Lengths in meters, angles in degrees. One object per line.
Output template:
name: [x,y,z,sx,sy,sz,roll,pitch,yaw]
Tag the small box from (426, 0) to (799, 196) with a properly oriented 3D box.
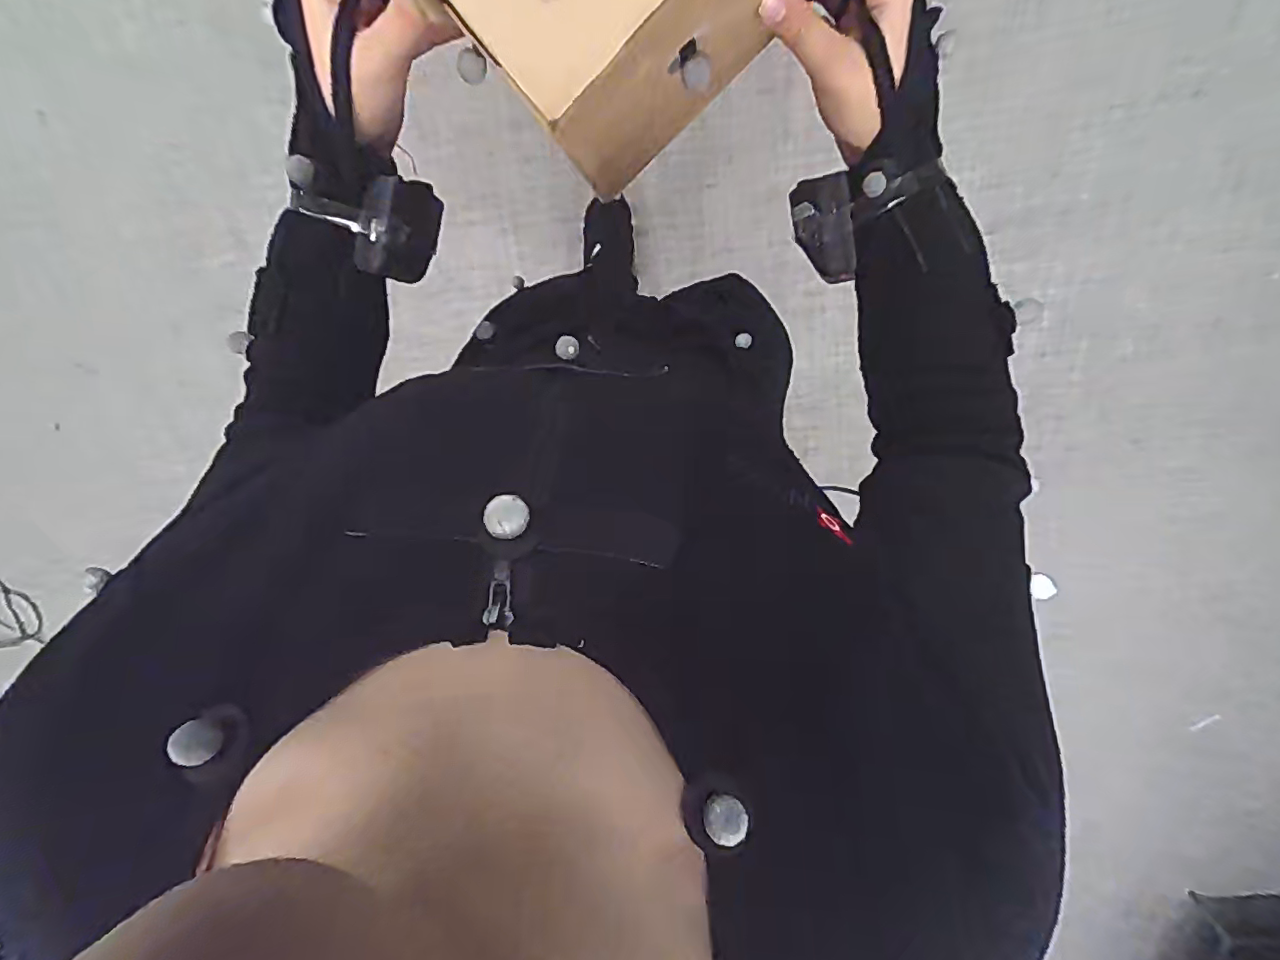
small box: [-0.018,-0.275,0.264,0.179,0.176,0.168,-39,101,15]
